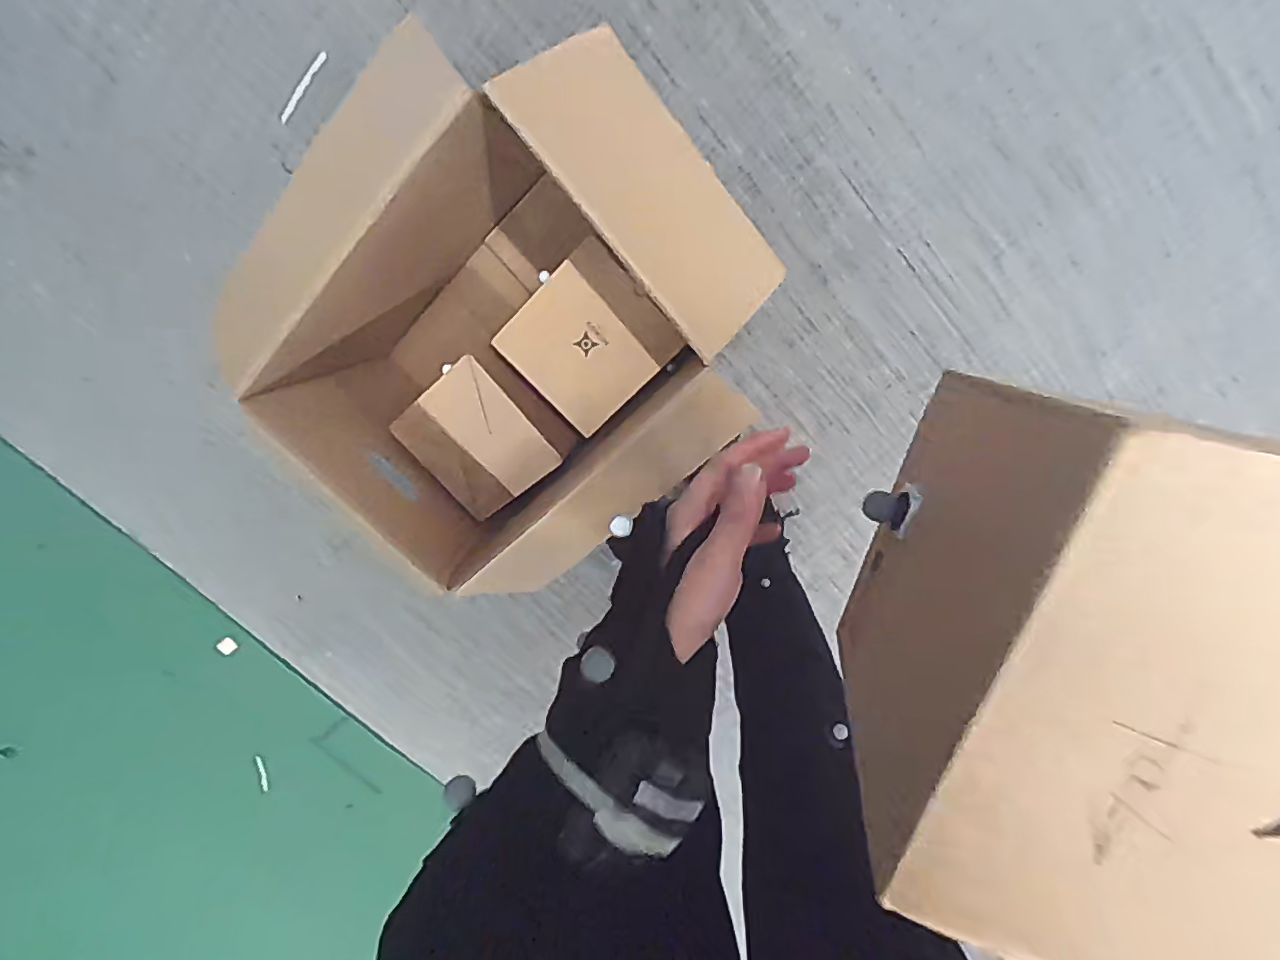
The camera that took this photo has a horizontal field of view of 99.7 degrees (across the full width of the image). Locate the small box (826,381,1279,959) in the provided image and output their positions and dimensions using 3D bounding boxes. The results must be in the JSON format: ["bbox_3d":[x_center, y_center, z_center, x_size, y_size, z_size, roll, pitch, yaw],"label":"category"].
[{"bbox_3d":[0.188,0.060,0.220,0.179,0.176,0.168,15,108,12],"label":"small box"}]
